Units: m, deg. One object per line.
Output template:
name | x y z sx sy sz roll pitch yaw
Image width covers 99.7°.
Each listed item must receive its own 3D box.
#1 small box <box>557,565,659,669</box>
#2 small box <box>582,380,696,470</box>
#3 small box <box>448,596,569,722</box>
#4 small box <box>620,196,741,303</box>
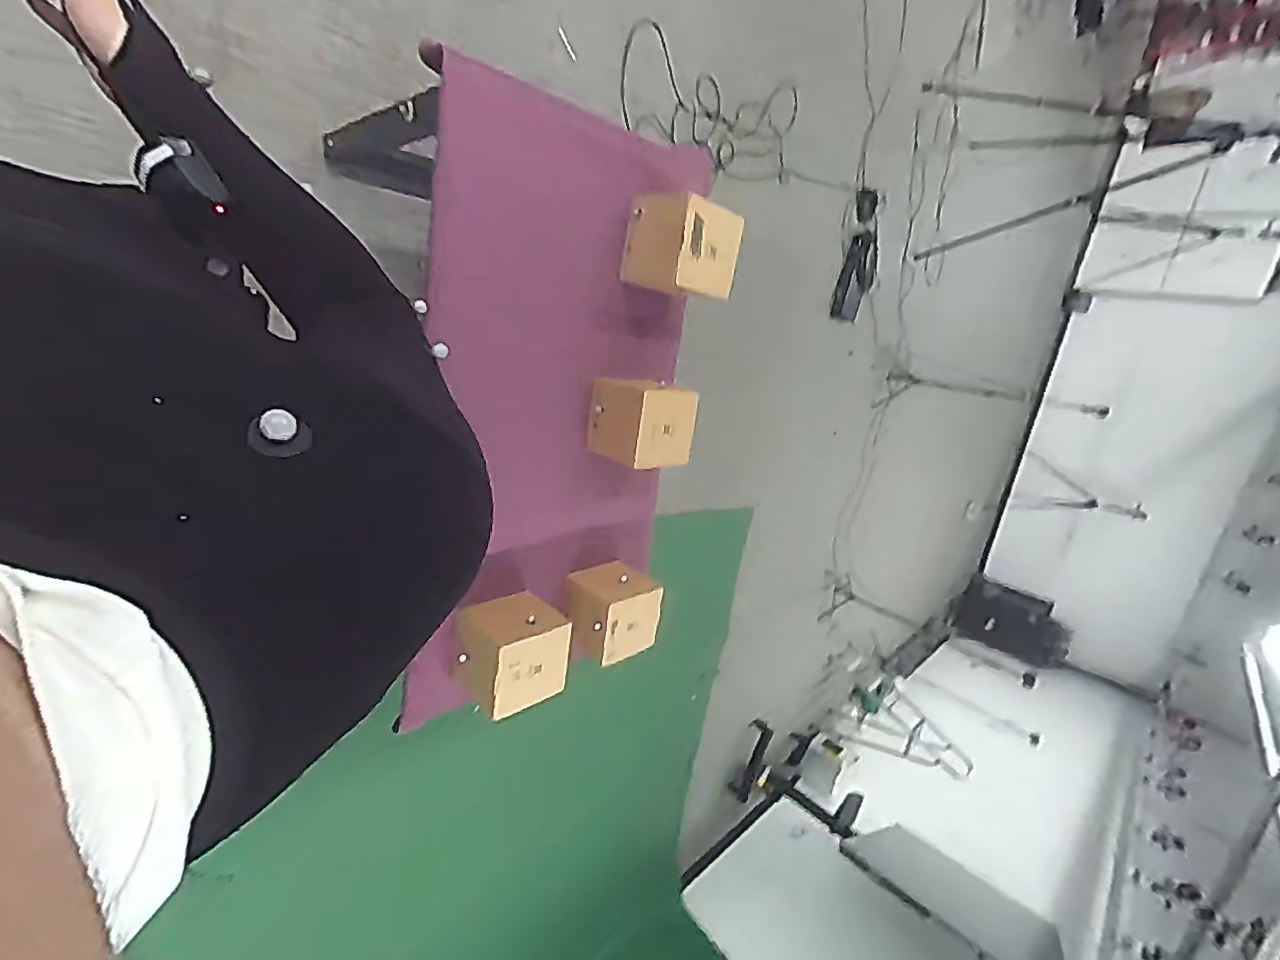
small box | -0.082 0.324 1.327 0.179 0.176 0.168 -8 112 -45
small box | -0.004 -0.127 1.213 0.179 0.176 0.168 -5 110 -44
small box | -0.277 0.361 1.133 0.179 0.176 0.168 -5 109 -46
small box | 0.080 -0.478 1.139 0.179 0.176 0.168 -3 110 -45
